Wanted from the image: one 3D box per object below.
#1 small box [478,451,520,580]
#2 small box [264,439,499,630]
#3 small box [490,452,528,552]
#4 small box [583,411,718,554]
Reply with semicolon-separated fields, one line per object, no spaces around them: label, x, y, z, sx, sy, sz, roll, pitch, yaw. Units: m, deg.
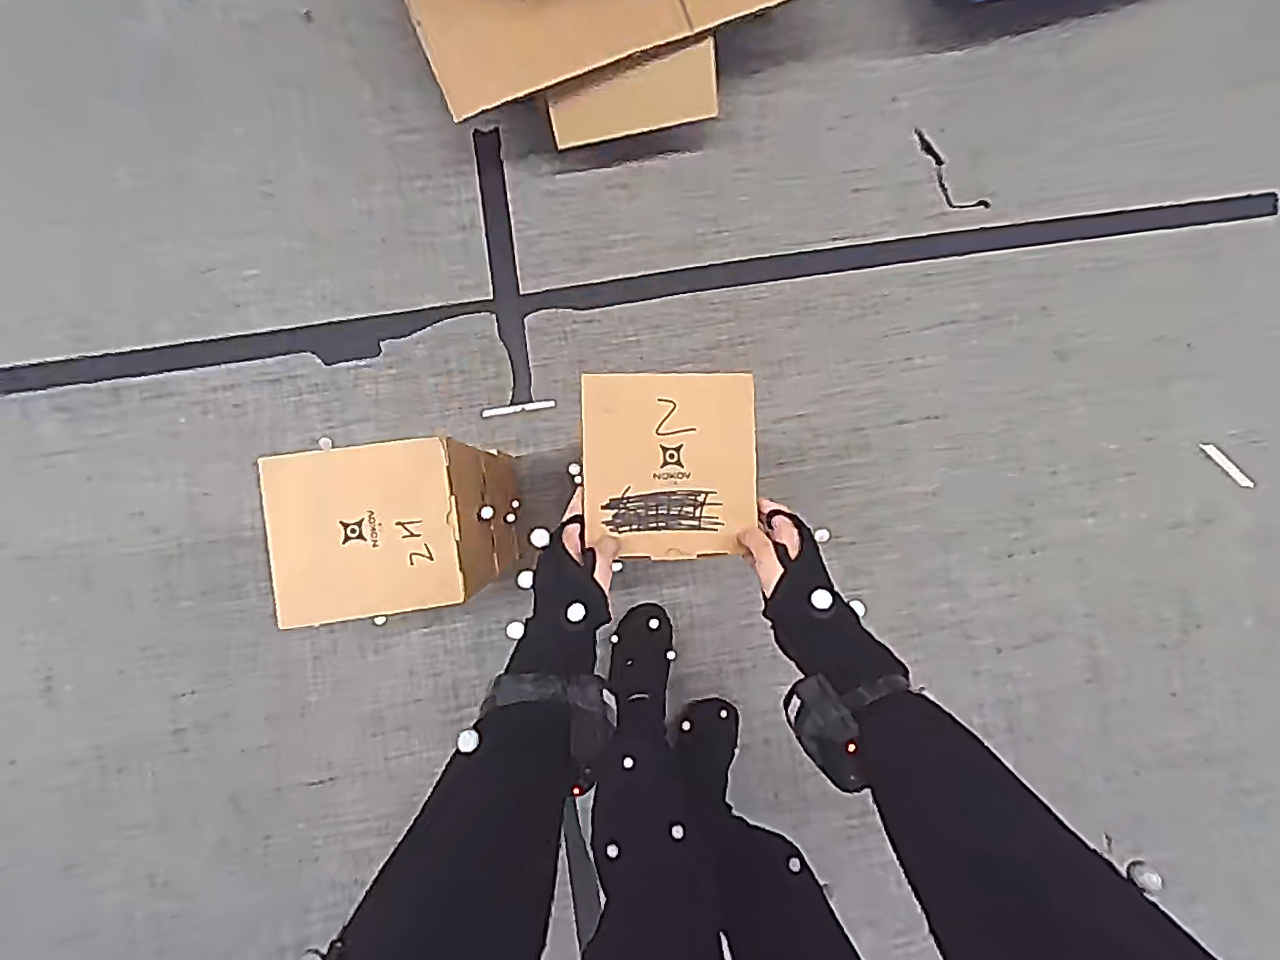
small box;-0.275;0.057;0.754;0.179;0.176;0.168;-8;89;-6
small box;-0.264;0.053;0.590;0.179;0.176;0.168;-7;90;-6
small box;-0.291;0.054;0.916;0.168;0.176;0.179;-9;88;-5
small box;0.010;0.003;0.772;0.168;0.176;0.179;-5;88;-4
